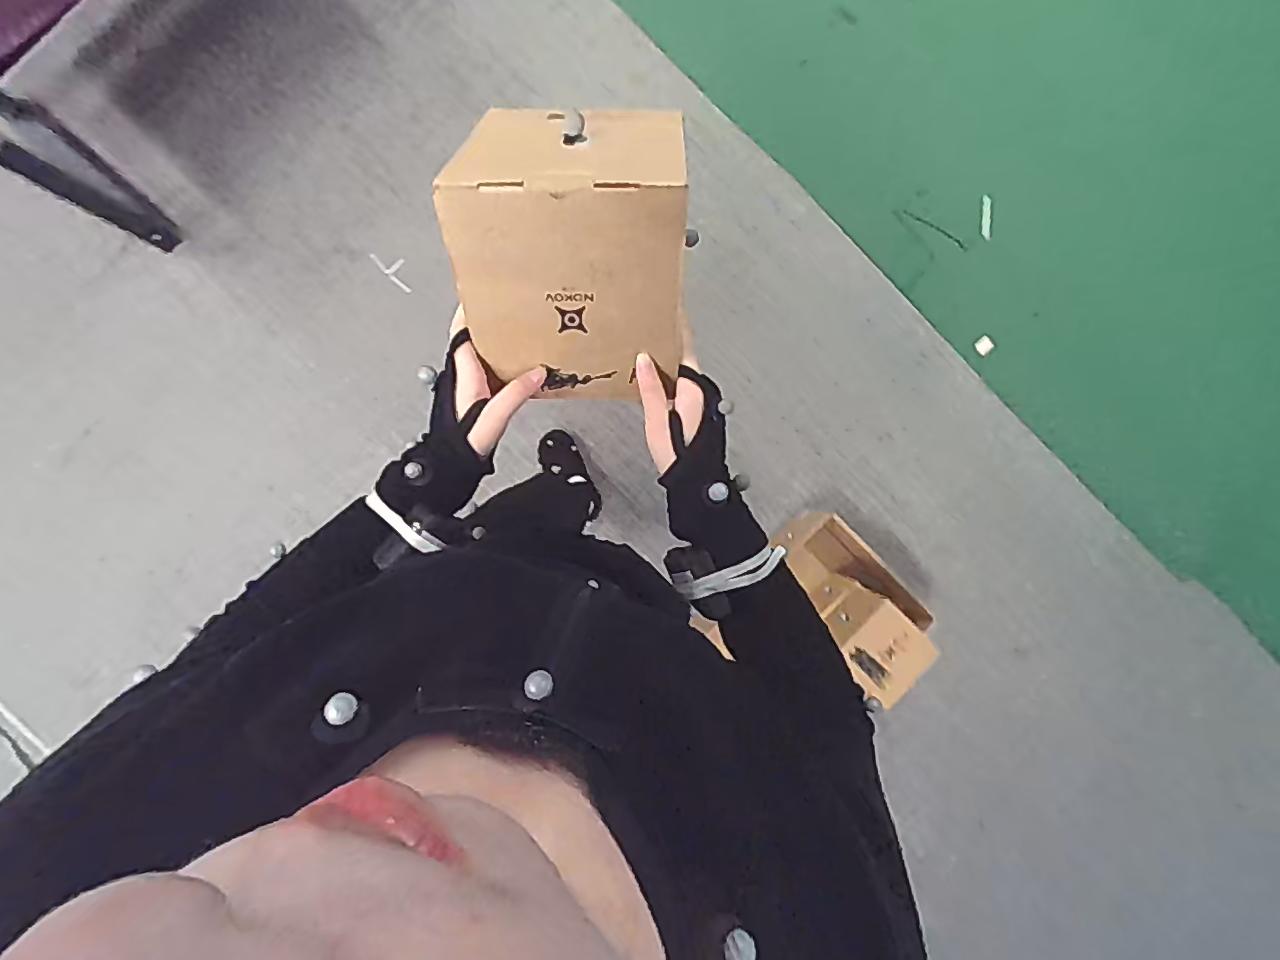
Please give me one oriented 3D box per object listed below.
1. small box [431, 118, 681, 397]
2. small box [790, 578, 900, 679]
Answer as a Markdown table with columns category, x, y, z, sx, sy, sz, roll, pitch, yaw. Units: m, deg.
| category | x | y | z | sx | sy | sz | roll | pitch | yaw |
| --- | --- | --- | --- | --- | --- | --- | --- | --- | --- |
| small box | -0.054 | -0.191 | 0.463 | 0.168 | 0.179 | 0.176 | 1 | 47 | 2 |
| small box | 0.519 | 0.371 | 1.396 | 0.168 | 0.176 | 0.179 | -41 | 91 | -2 |
